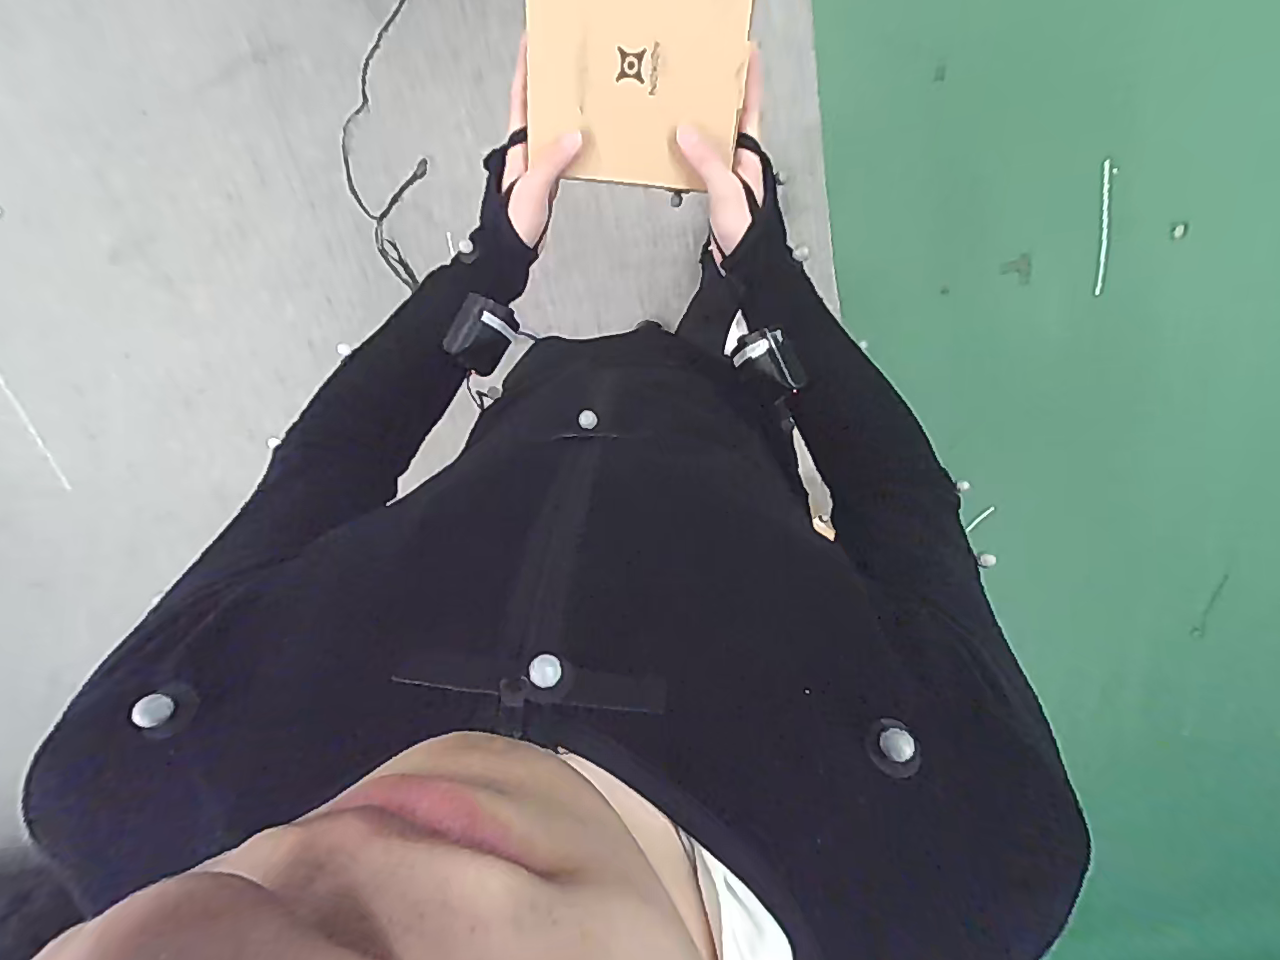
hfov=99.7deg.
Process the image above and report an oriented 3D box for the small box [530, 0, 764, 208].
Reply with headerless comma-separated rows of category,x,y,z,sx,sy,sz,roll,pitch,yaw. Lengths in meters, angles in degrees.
small box,0.003,-0.352,0.497,0.179,0.176,0.168,6,117,0
